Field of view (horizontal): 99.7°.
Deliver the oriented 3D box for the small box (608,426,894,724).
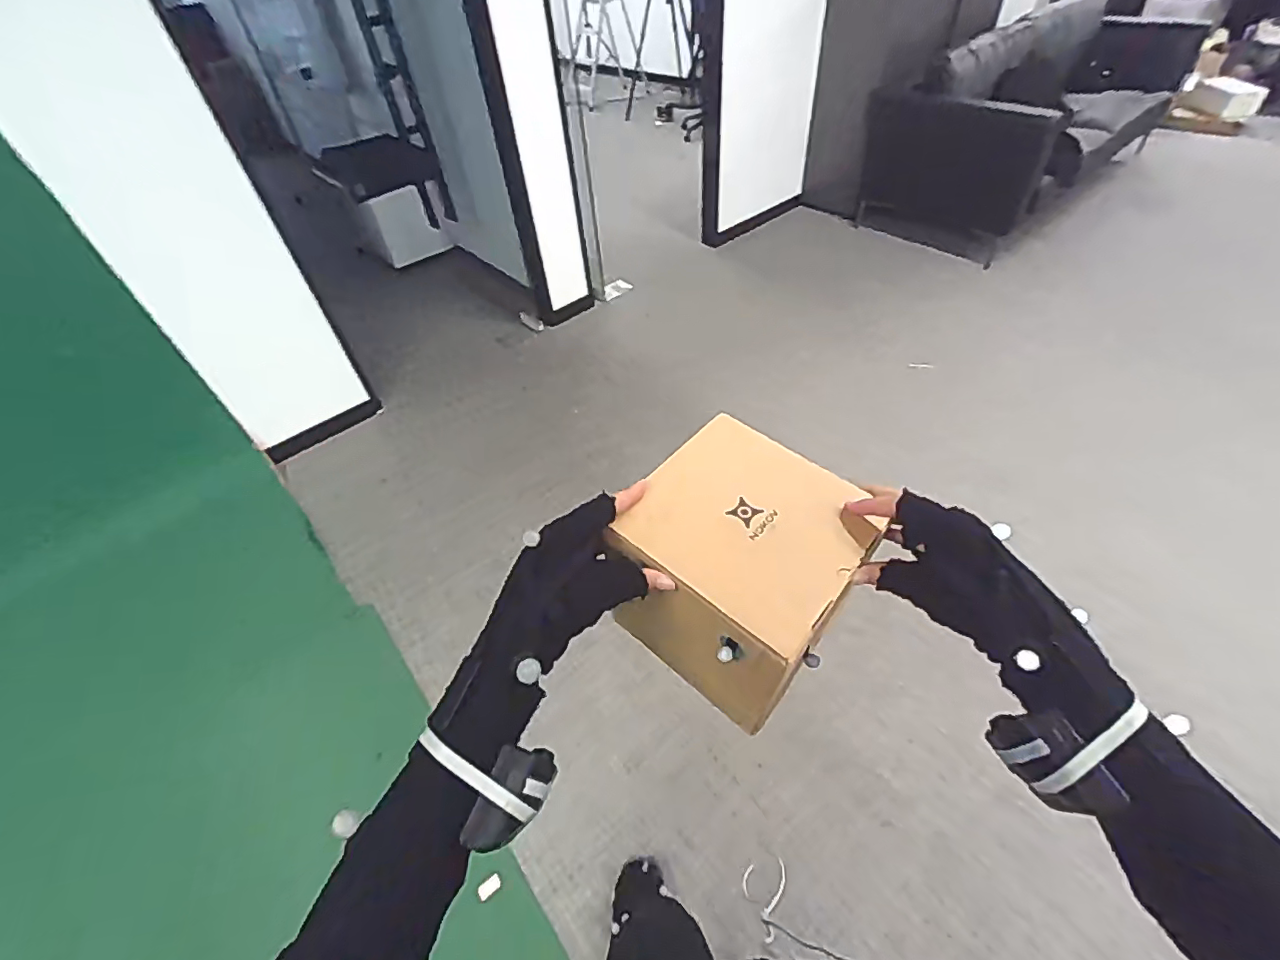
[{"bbox_3d":[0.089,0.088,0.498,0.179,0.176,0.168,35,58,26],"label":"small box"}]
